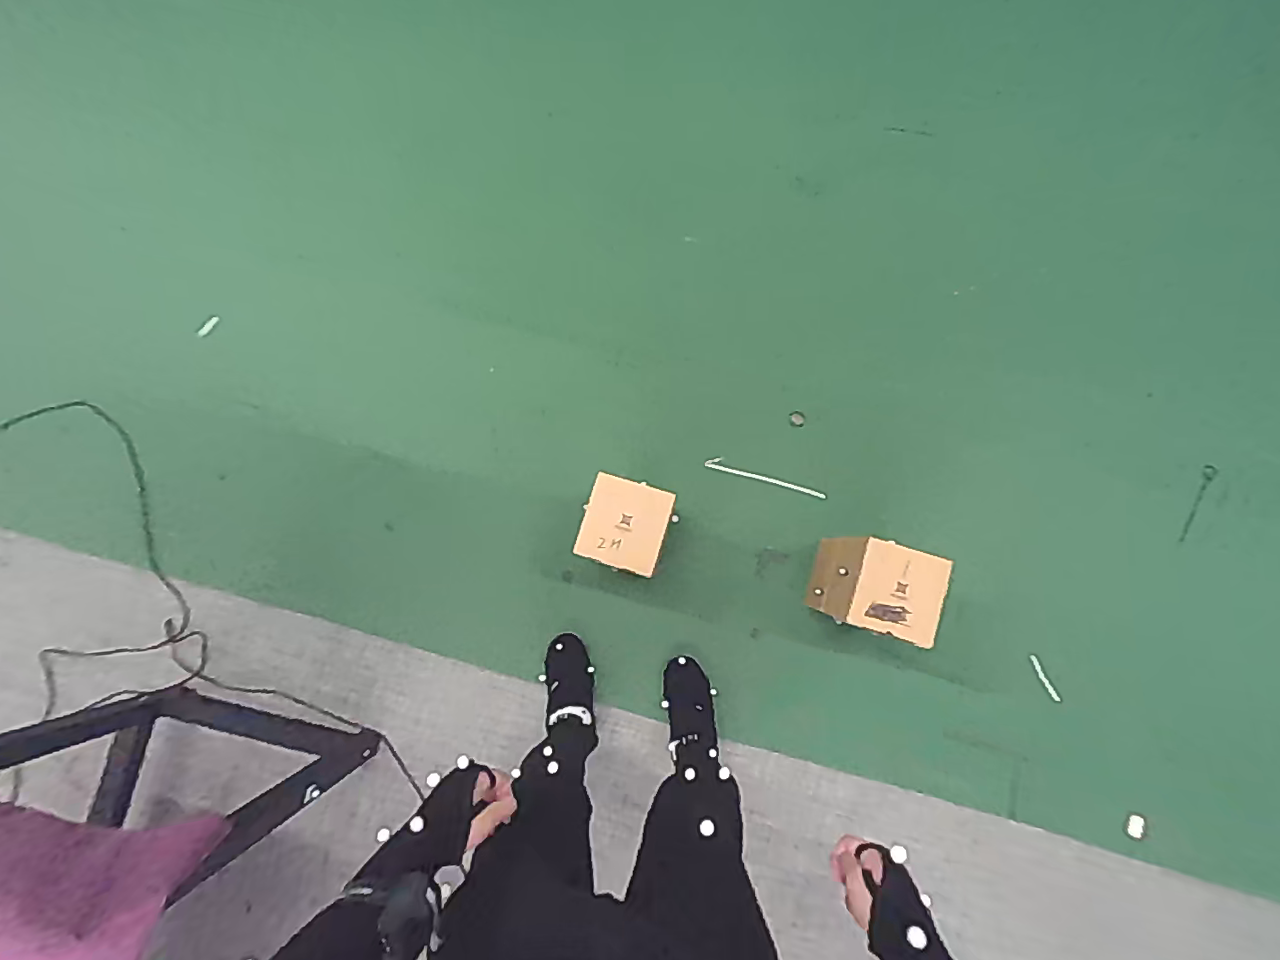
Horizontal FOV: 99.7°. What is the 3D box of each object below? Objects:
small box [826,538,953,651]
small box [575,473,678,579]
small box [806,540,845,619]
[{"bbox_3d":[0.500,0.227,1.111,0.168,0.176,0.179,17,84,4],"label":"small box"},{"bbox_3d":[-0.024,0.100,1.152,0.168,0.176,0.179,17,84,6],"label":"small box"},{"bbox_3d":[0.507,0.246,1.273,0.168,0.176,0.179,16,85,4],"label":"small box"}]
